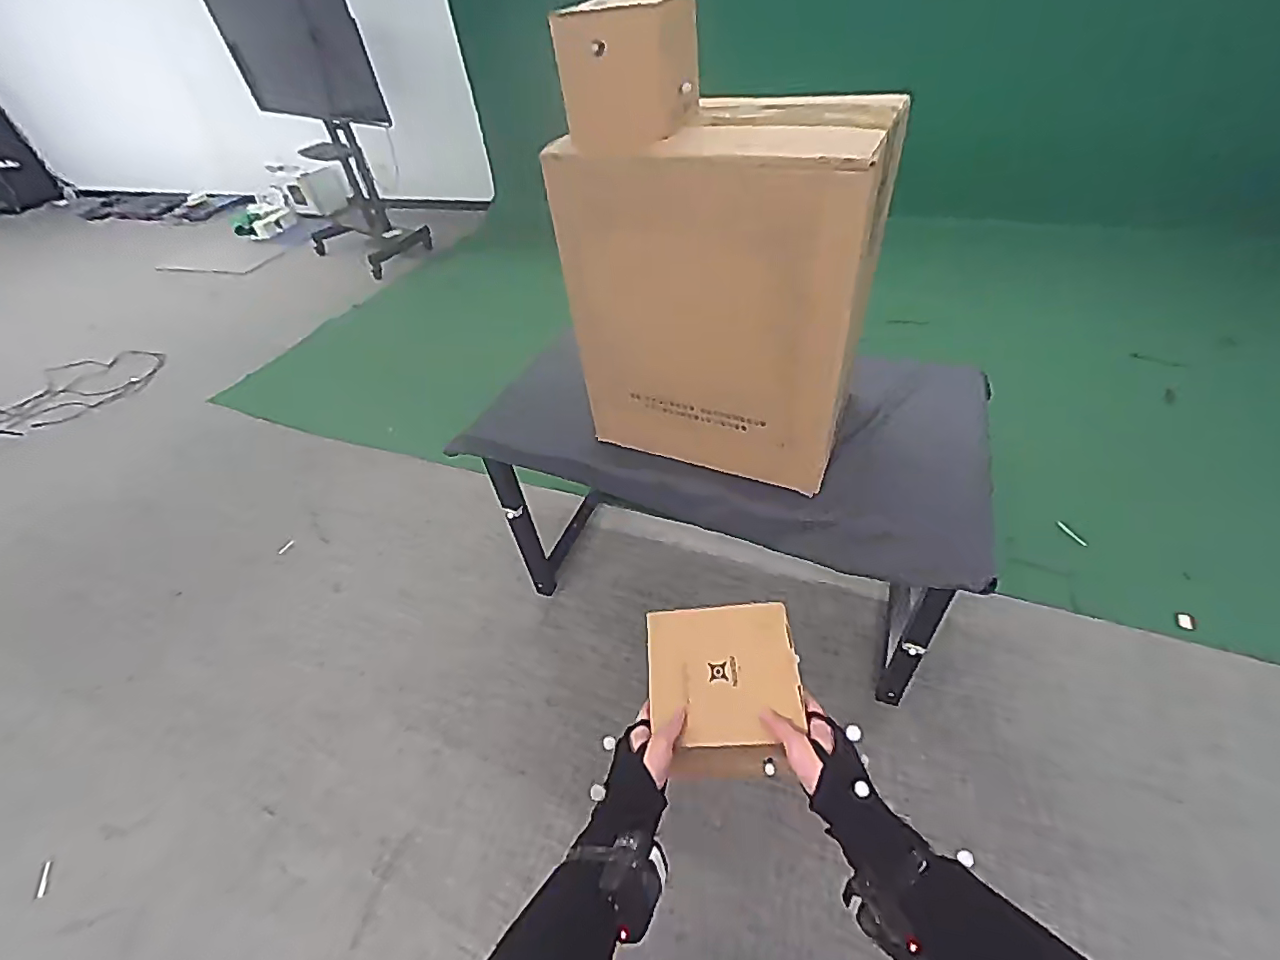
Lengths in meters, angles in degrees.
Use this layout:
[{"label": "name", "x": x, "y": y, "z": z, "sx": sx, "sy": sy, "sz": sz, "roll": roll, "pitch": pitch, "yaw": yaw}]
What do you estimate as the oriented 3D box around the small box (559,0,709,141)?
[{"label": "small box", "x": 0.001, "y": -0.670, "z": 0.880, "sx": 0.179, "sy": 0.176, "sz": 0.168, "roll": 16, "pitch": 53, "yaw": 24}]
